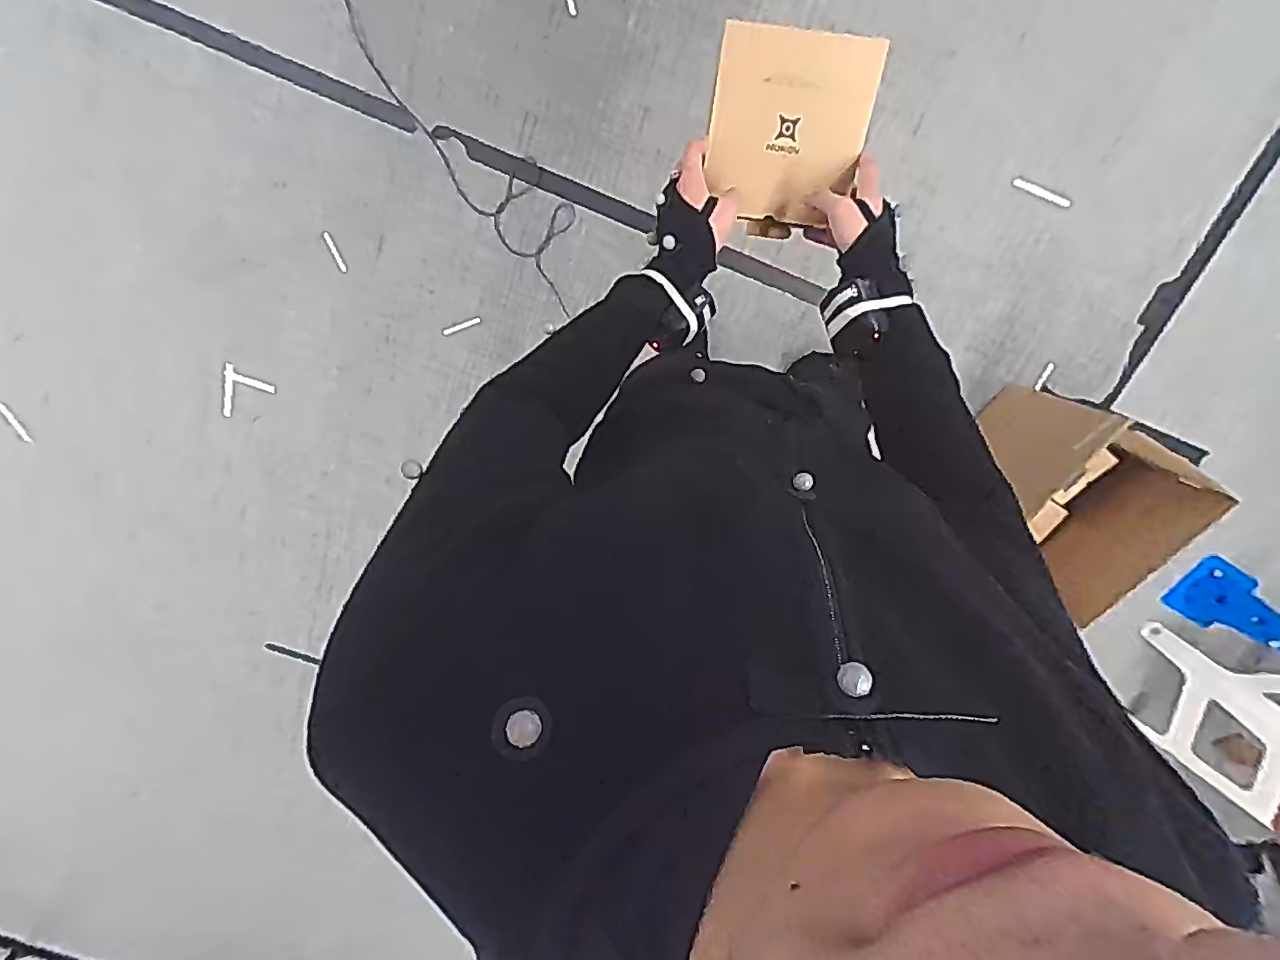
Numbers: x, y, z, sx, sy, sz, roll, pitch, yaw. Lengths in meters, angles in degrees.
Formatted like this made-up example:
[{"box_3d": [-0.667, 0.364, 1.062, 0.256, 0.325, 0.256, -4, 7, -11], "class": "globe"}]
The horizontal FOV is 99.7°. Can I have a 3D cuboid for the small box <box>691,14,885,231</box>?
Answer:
[{"box_3d": [0.154, -0.400, 0.631, 0.168, 0.176, 0.179, 7, 117, 1], "class": "small box"}]
